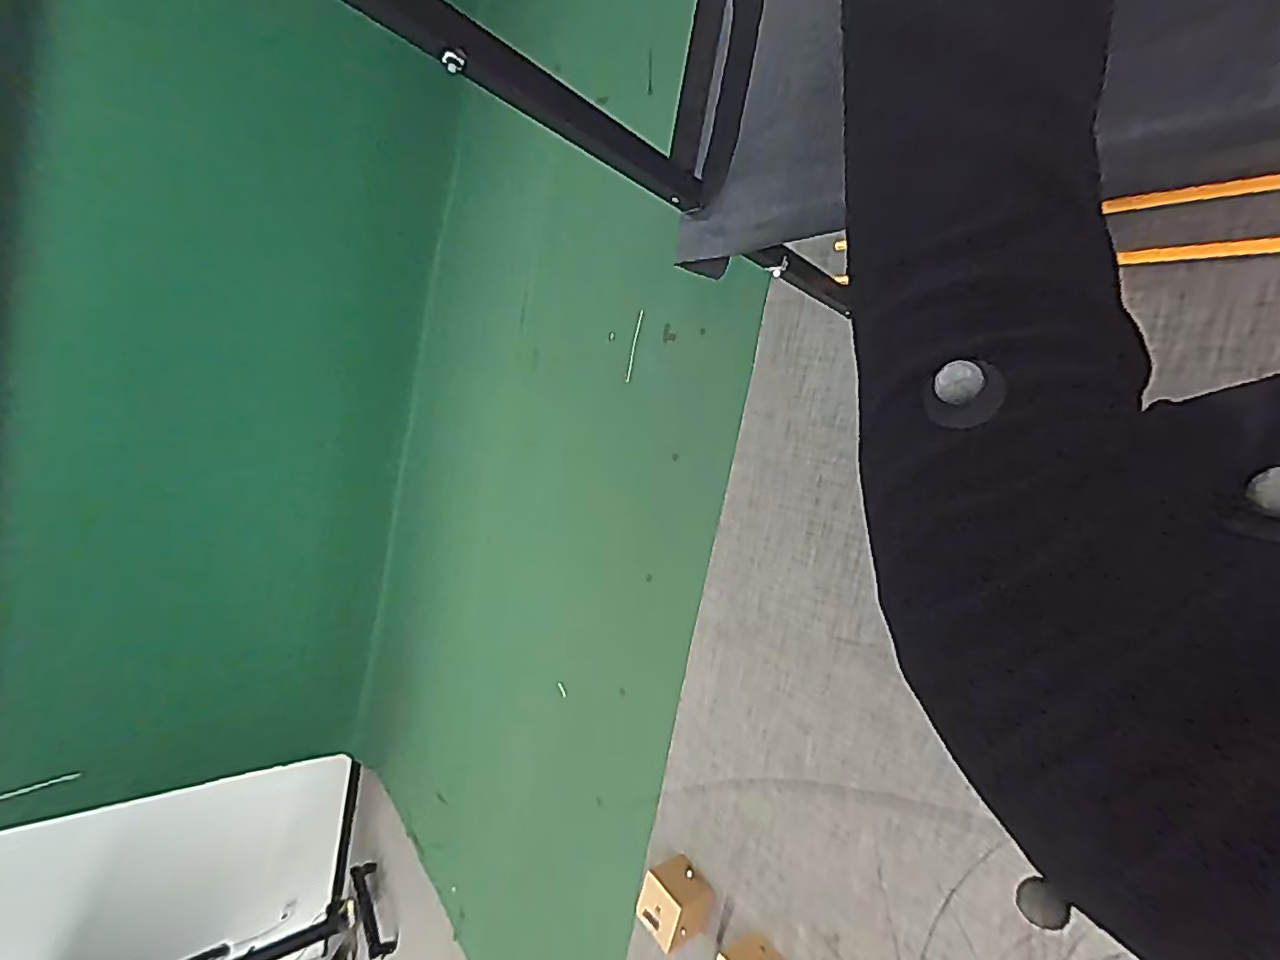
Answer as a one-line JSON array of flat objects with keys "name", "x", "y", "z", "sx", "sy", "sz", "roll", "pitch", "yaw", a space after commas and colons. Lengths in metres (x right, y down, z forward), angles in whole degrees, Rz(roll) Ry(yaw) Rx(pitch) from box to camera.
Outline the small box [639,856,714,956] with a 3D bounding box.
[{"name": "small box", "x": 0.126, "y": 1.425, "z": 1.821, "sx": 0.168, "sy": 0.176, "sz": 0.179, "roll": 22, "pitch": 100, "yaw": 47}]

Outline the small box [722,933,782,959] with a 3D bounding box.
[{"name": "small box", "x": 0.336, "y": 1.497, "z": 1.583, "sx": 0.168, "sy": 0.176, "sz": 0.179, "roll": 16, "pitch": 98, "yaw": 48}]
